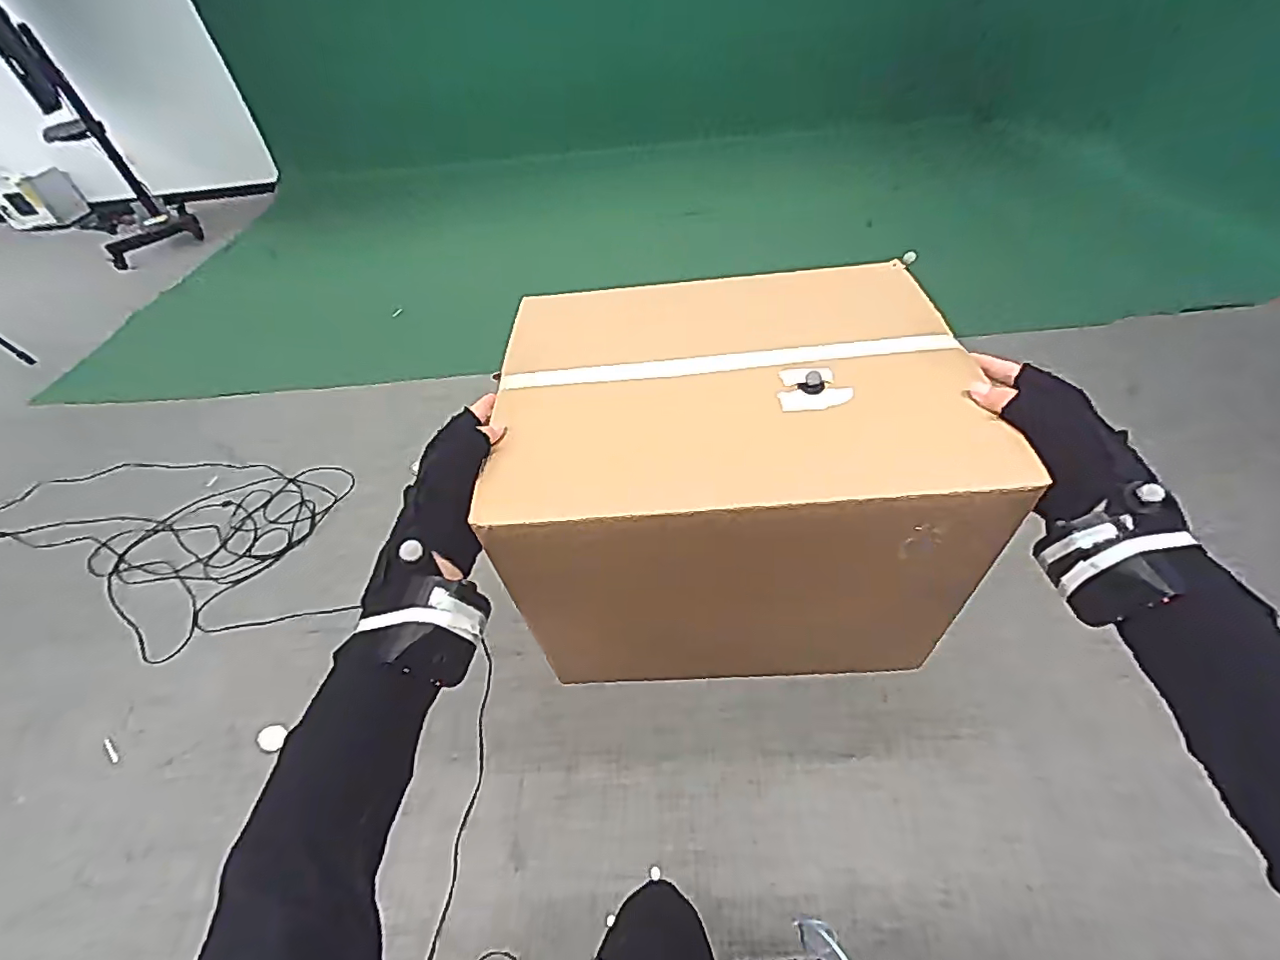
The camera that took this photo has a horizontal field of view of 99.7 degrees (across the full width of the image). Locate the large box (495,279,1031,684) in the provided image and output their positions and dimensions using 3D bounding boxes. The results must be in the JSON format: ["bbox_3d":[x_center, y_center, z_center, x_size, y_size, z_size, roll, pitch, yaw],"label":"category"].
[{"bbox_3d":[0.093,0.009,0.603,0.408,0.320,0.320,-4,49,3],"label":"large box"}]
